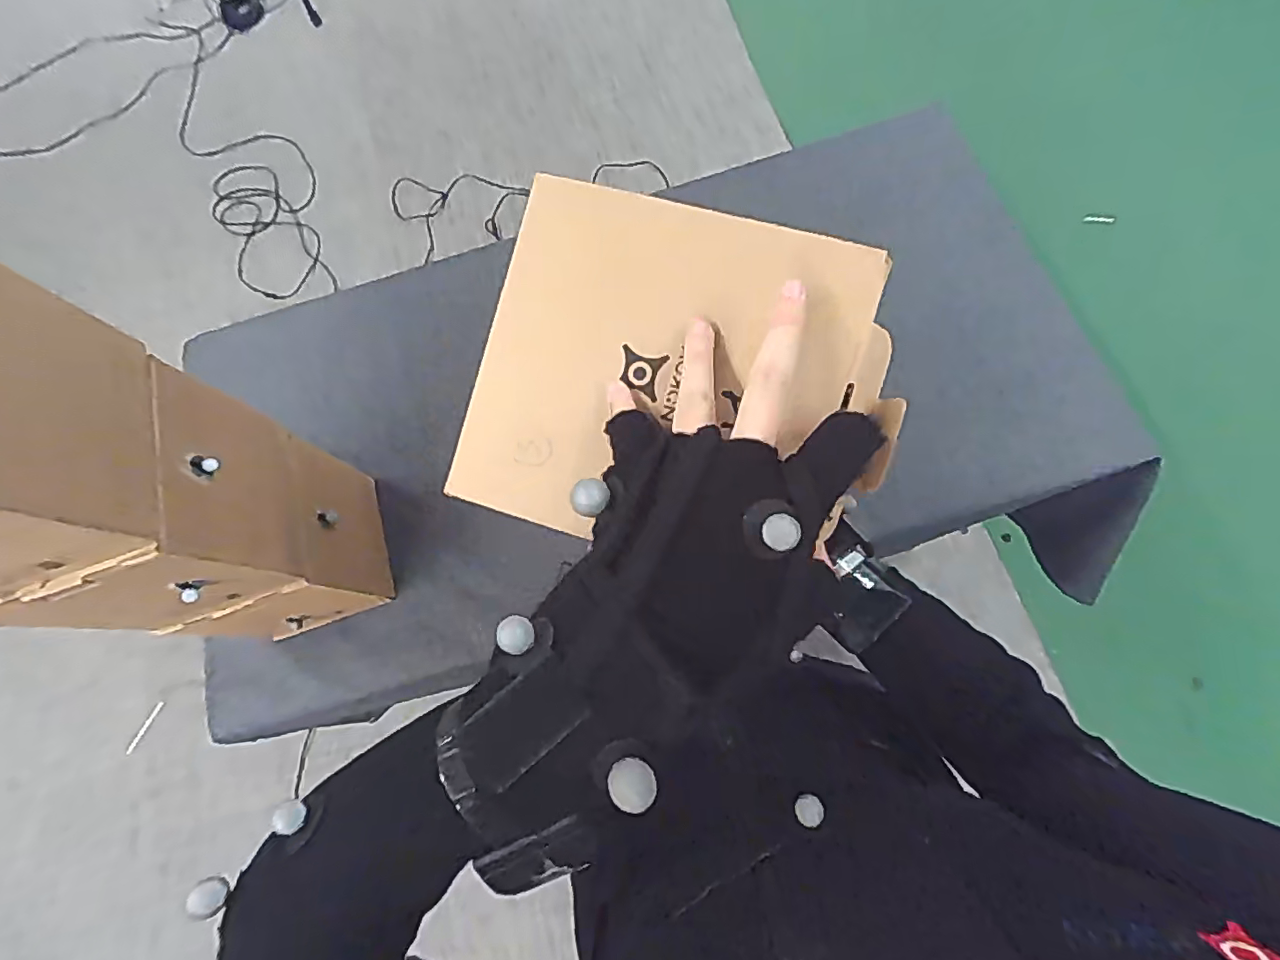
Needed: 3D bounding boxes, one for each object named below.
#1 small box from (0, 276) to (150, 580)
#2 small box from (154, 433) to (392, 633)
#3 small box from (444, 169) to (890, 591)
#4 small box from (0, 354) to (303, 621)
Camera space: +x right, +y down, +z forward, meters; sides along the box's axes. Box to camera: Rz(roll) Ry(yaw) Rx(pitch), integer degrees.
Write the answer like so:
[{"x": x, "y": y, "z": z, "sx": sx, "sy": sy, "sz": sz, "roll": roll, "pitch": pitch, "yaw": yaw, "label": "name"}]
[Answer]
[{"x": -0.457, "y": -0.033, "z": 0.336, "sx": 0.168, "sy": 0.176, "sz": 0.179, "roll": -19, "pitch": 72, "yaw": -2, "label": "small box"}, {"x": -0.425, "y": 0.072, "z": 0.644, "sx": 0.168, "sy": 0.176, "sz": 0.179, "roll": -19, "pitch": 73, "yaw": 0, "label": "small box"}, {"x": 0.018, "y": -0.049, "z": 0.334, "sx": 0.179, "sy": 0.176, "sz": 0.168, "roll": 17, "pitch": 92, "yaw": 7, "label": "small box"}, {"x": -0.439, "y": 0.021, "z": 0.490, "sx": 0.168, "sy": 0.176, "sz": 0.179, "roll": -18, "pitch": 72, "yaw": -1, "label": "small box"}]
